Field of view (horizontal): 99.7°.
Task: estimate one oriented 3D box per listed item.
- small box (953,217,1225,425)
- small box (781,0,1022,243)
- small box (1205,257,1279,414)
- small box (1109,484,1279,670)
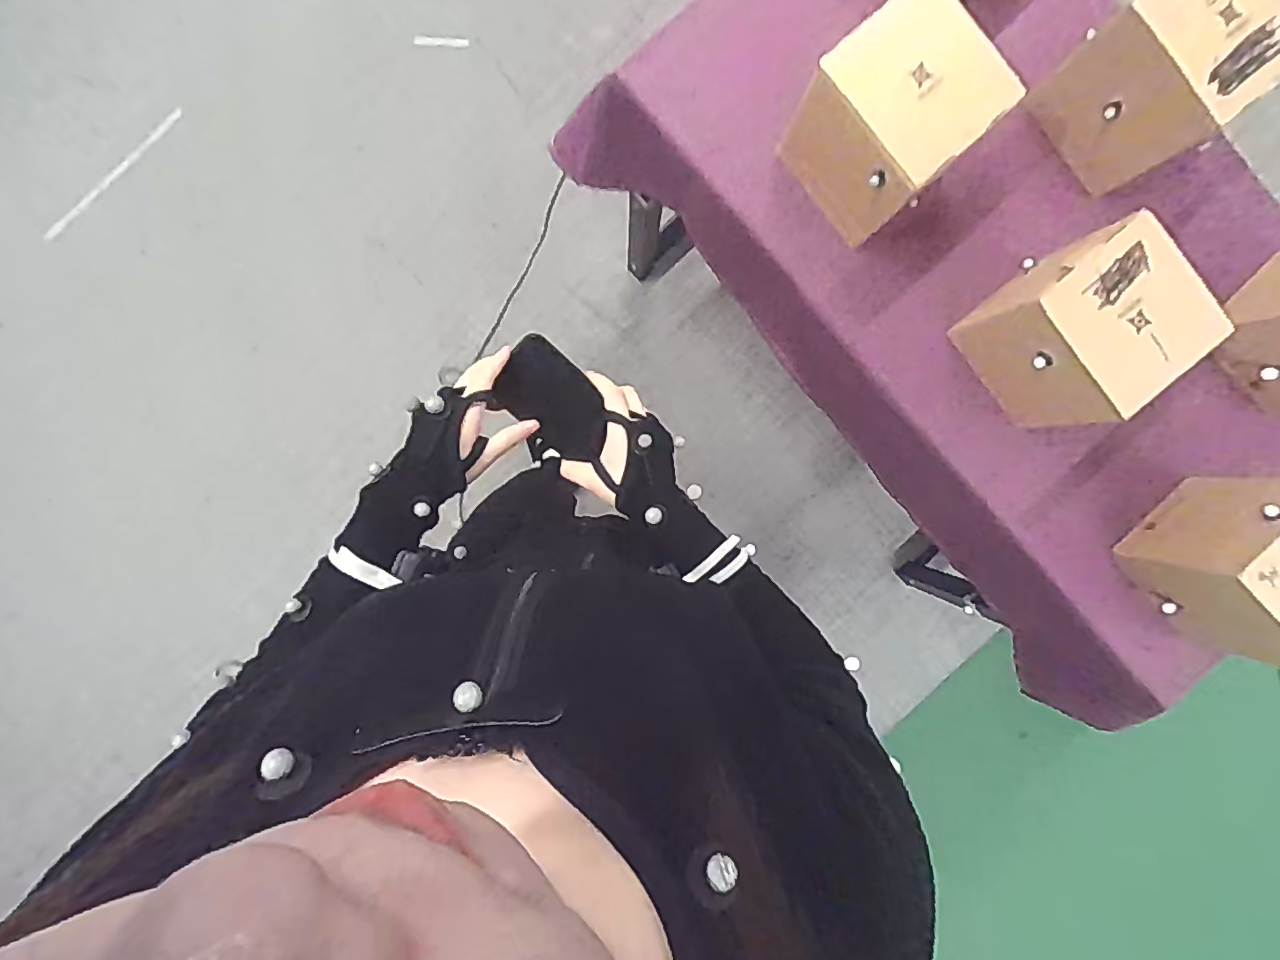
[{"bbox_3d":[0.553,-0.186,0.694,0.168,0.176,0.179,-39,94,-1],"label":"small box"},{"bbox_3d":[0.307,-0.438,0.675,0.168,0.176,0.179,-41,94,-1],"label":"small box"},{"bbox_3d":[0.918,-0.206,0.708,0.179,0.176,0.168,-44,93,0],"label":"small box"},{"bbox_3d":[0.798,0.118,0.715,0.168,0.176,0.179,-43,93,-1],"label":"small box"}]
